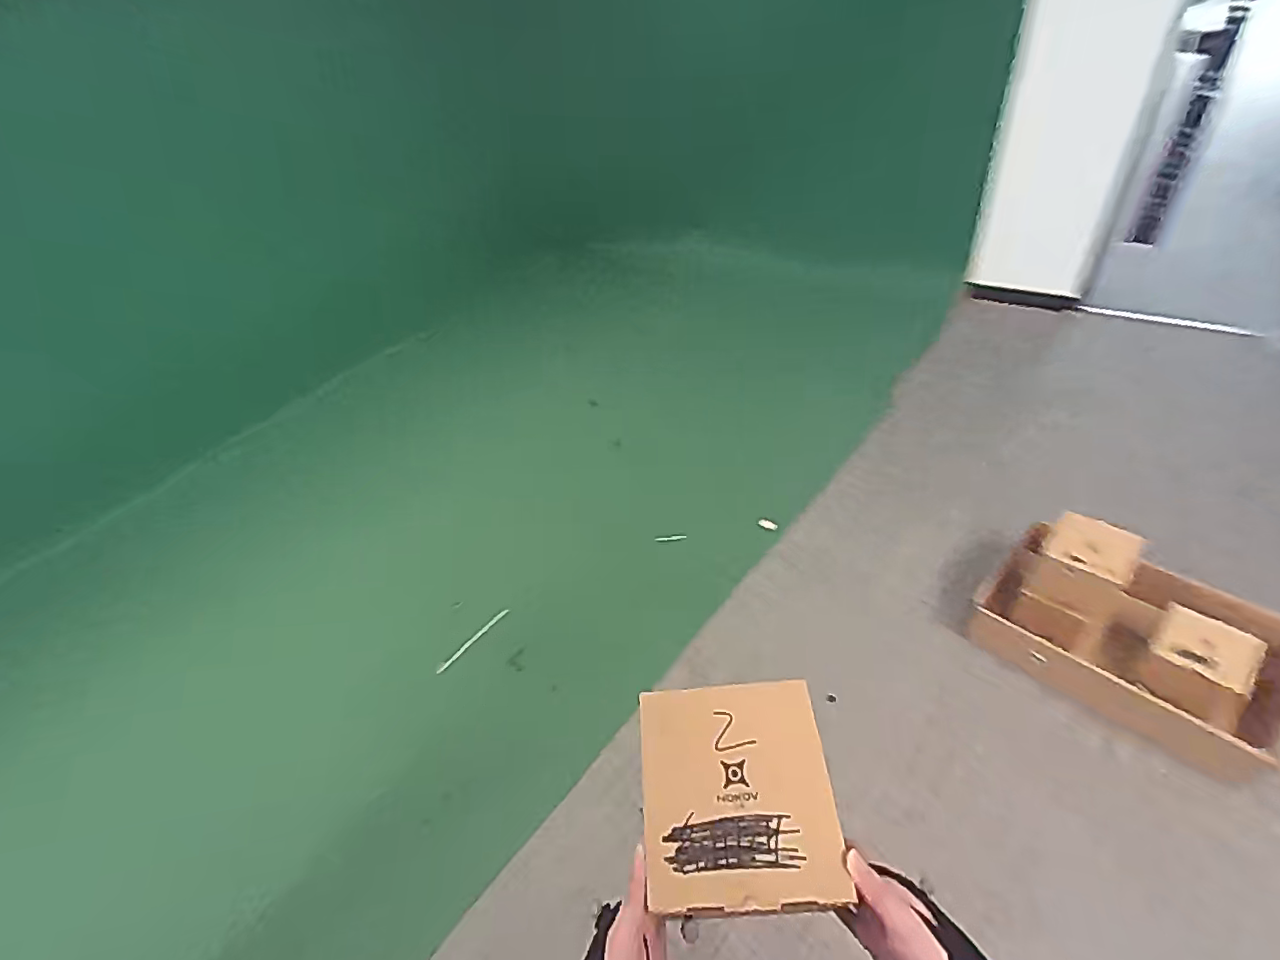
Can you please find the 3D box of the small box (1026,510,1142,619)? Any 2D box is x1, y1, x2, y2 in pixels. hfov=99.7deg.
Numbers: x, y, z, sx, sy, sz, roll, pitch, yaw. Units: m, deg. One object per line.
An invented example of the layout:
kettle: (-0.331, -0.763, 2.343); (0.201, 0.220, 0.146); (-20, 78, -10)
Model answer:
small box: (1.127, 0.216, 1.385); (0.168, 0.176, 0.179); (28, 57, 37)
